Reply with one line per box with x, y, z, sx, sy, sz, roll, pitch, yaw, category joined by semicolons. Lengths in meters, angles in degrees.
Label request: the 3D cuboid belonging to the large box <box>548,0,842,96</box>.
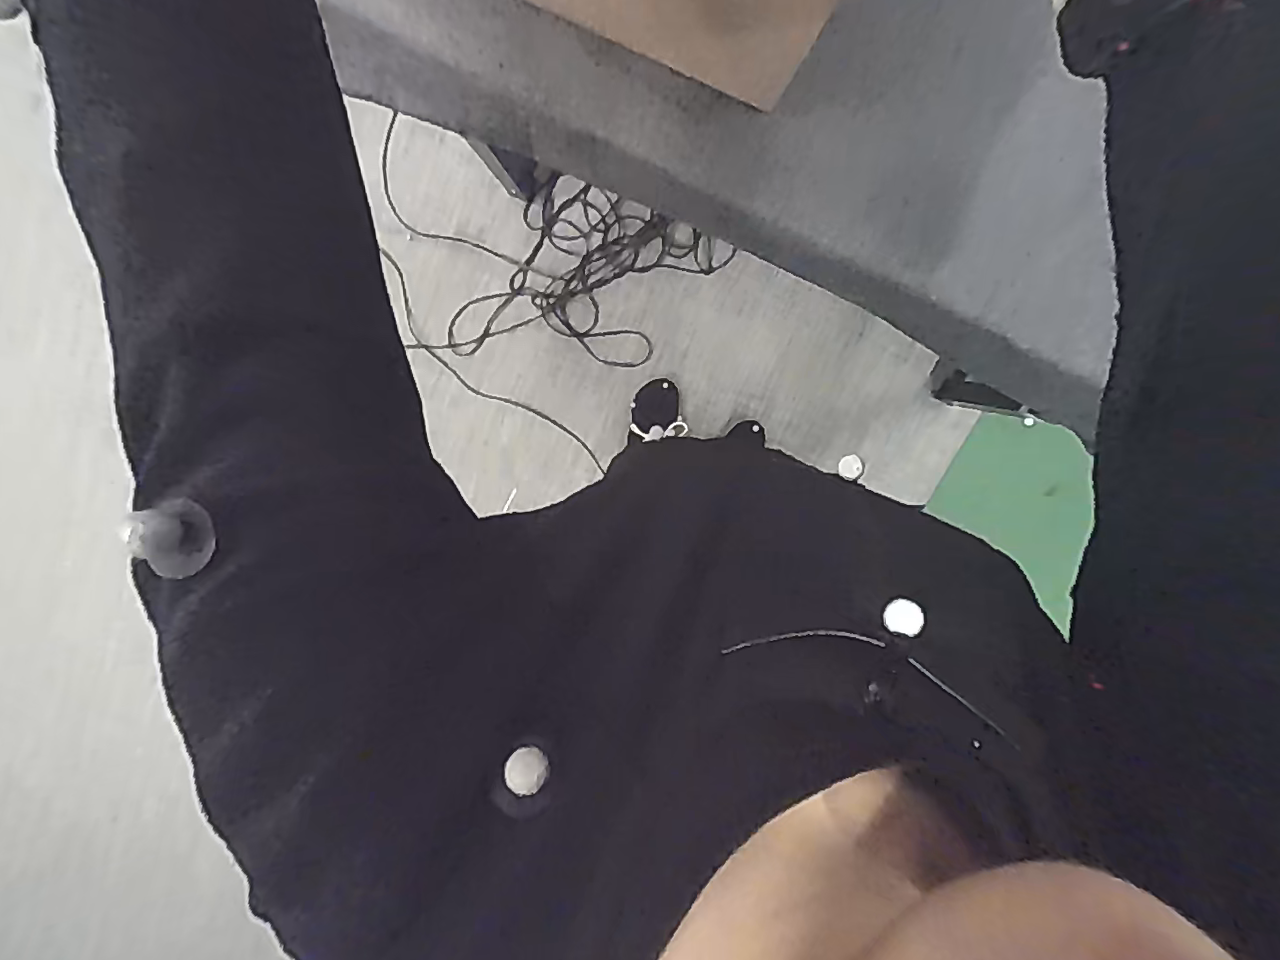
0.008;-0.542;0.339;0.408;0.320;0.320;19;102;-7;large box
